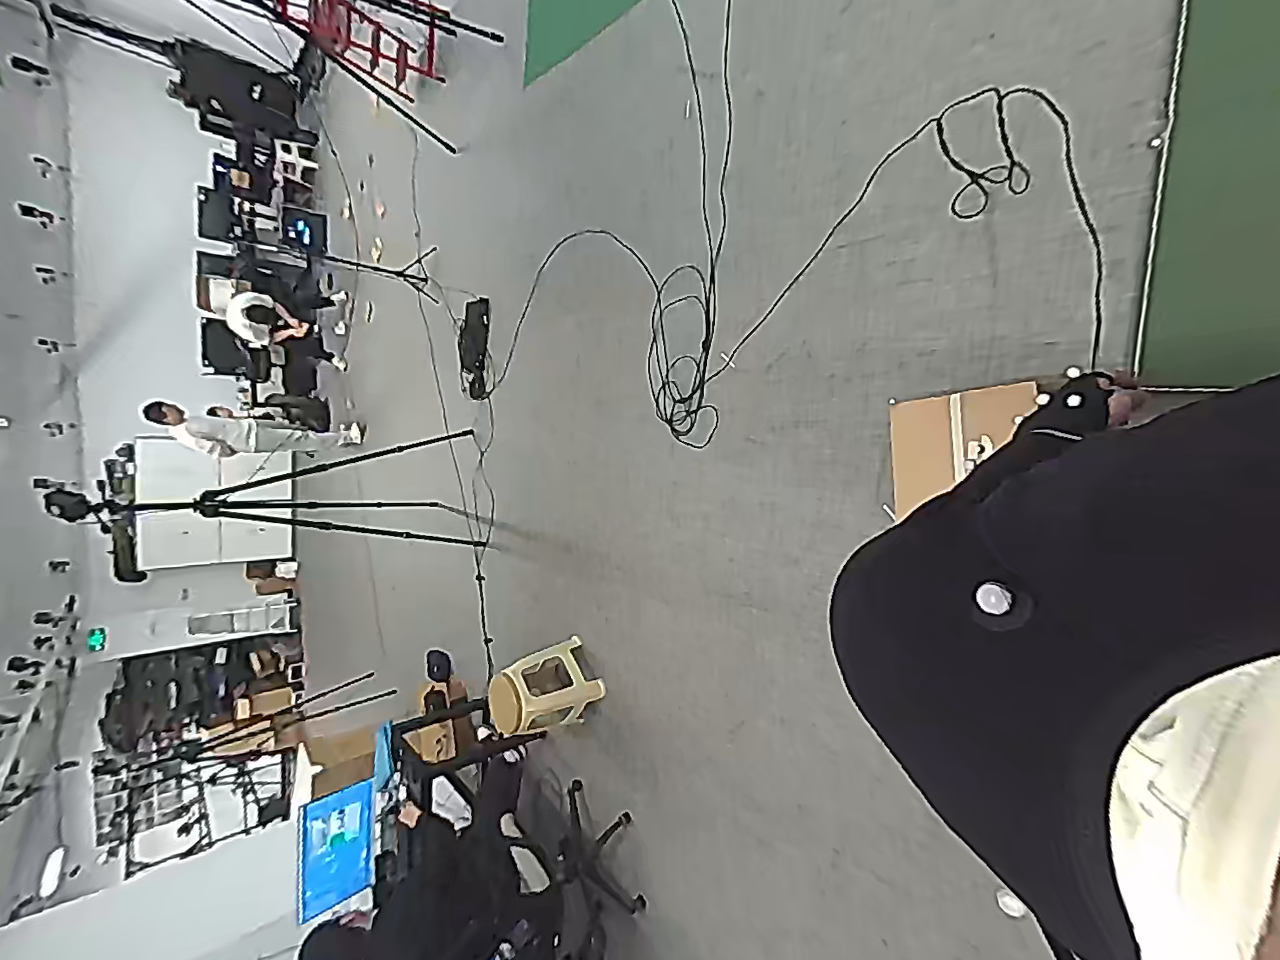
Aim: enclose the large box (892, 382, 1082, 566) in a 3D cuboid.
[{"bbox_3d":[0.867,-0.002,1.355,0.320,0.320,0.408,-5,86,49],"label":"large box"}]
